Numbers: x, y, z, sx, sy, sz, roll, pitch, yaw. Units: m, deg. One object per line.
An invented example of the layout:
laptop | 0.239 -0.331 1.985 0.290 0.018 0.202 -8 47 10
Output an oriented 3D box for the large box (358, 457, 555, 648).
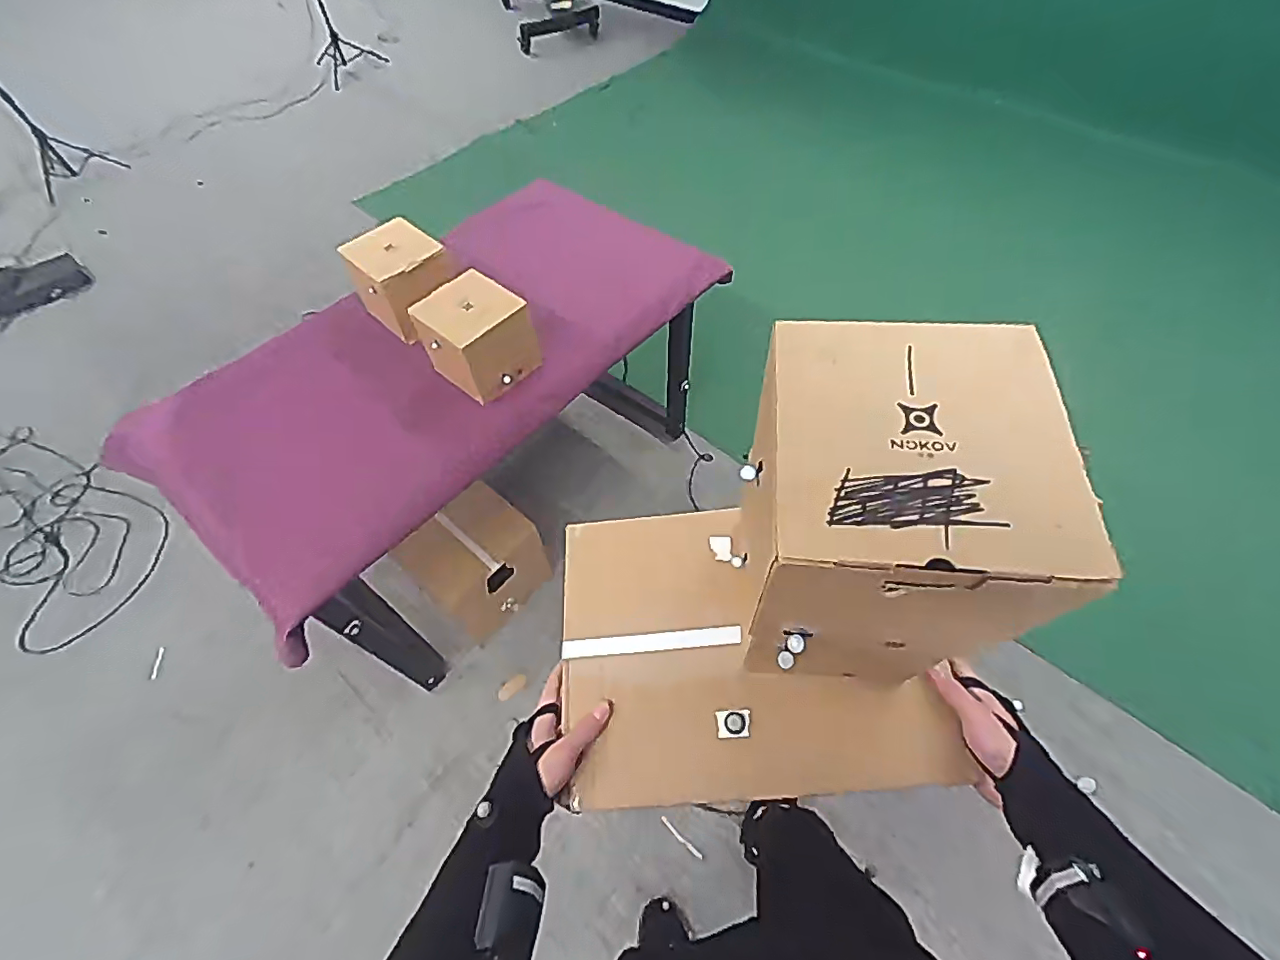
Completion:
large box | -0.515 0.214 1.579 0.408 0.320 0.320 35 64 23

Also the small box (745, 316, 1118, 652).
small box | 0.164 0.011 0.375 0.168 0.176 0.179 4 60 8

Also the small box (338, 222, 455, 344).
small box | -0.530 -0.440 1.218 0.179 0.176 0.168 38 65 22

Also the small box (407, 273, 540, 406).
small box | -0.332 -0.284 1.107 0.179 0.176 0.168 37 66 23
